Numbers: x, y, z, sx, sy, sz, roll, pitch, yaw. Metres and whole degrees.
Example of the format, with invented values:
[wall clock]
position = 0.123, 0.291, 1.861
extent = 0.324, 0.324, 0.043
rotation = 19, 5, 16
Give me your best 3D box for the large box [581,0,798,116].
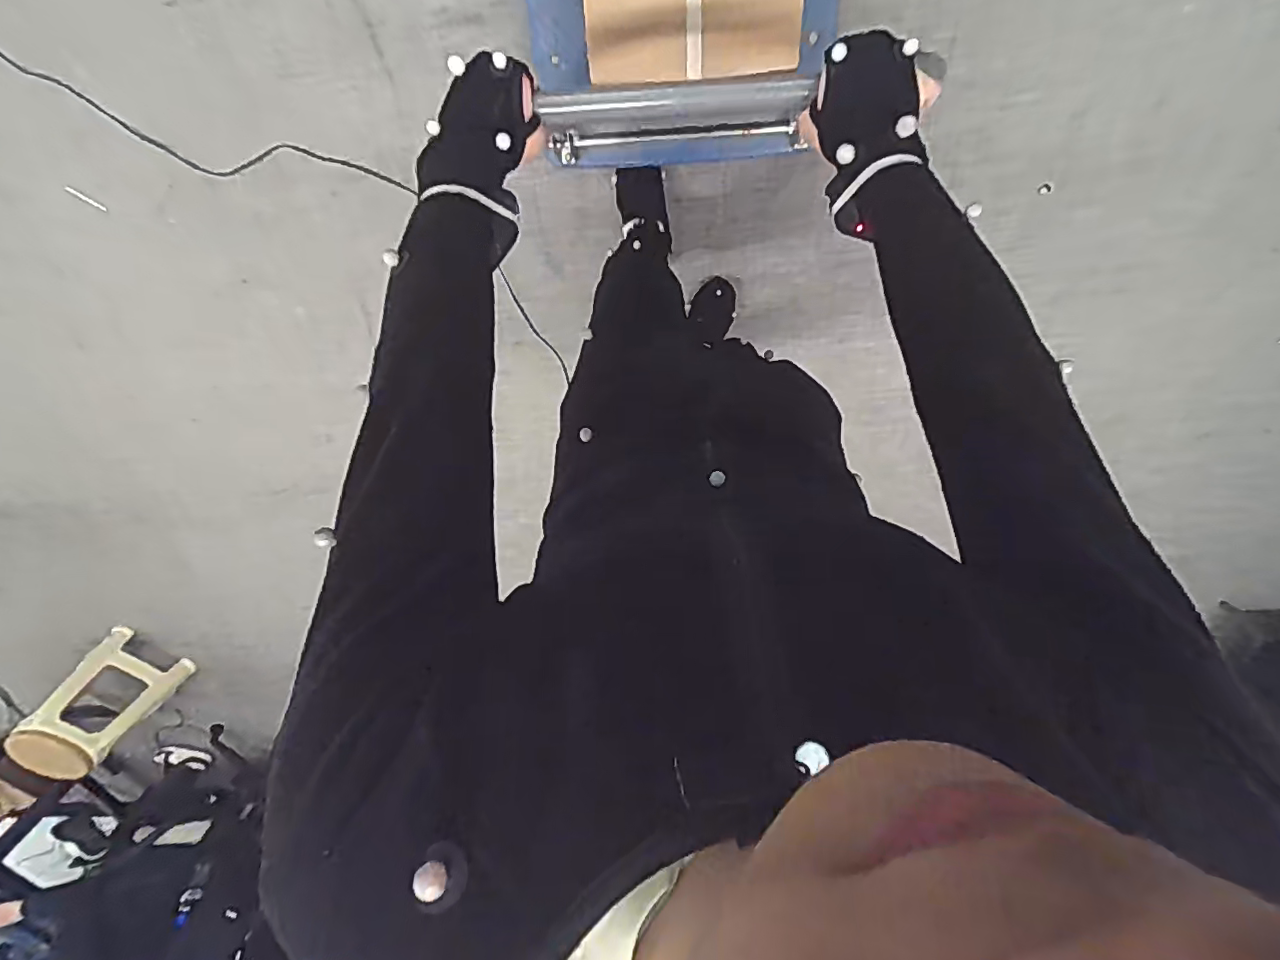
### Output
[large box]
position = 0.076, -0.844, 0.861
extent = 0.320, 0.320, 0.408
rotation = -1, 120, 5
